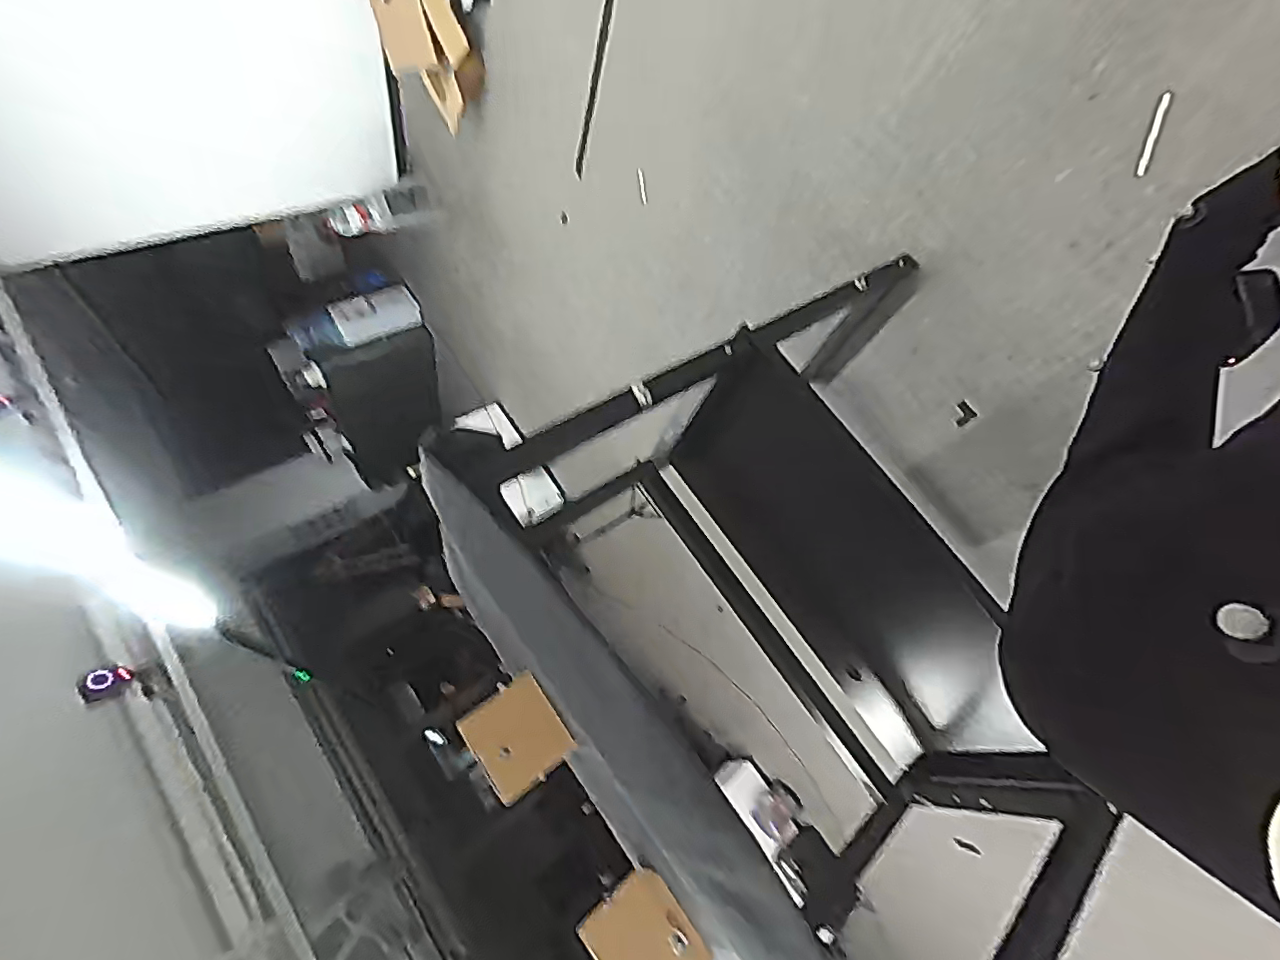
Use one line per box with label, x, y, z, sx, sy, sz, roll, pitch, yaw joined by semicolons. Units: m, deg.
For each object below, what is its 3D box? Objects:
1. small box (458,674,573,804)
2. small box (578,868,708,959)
small box;-0.262;0.537;1.135;0.179;0.176;0.168;54;152;12
small box;0.004;0.883;1.031;0.168;0.176;0.179;50;151;17
